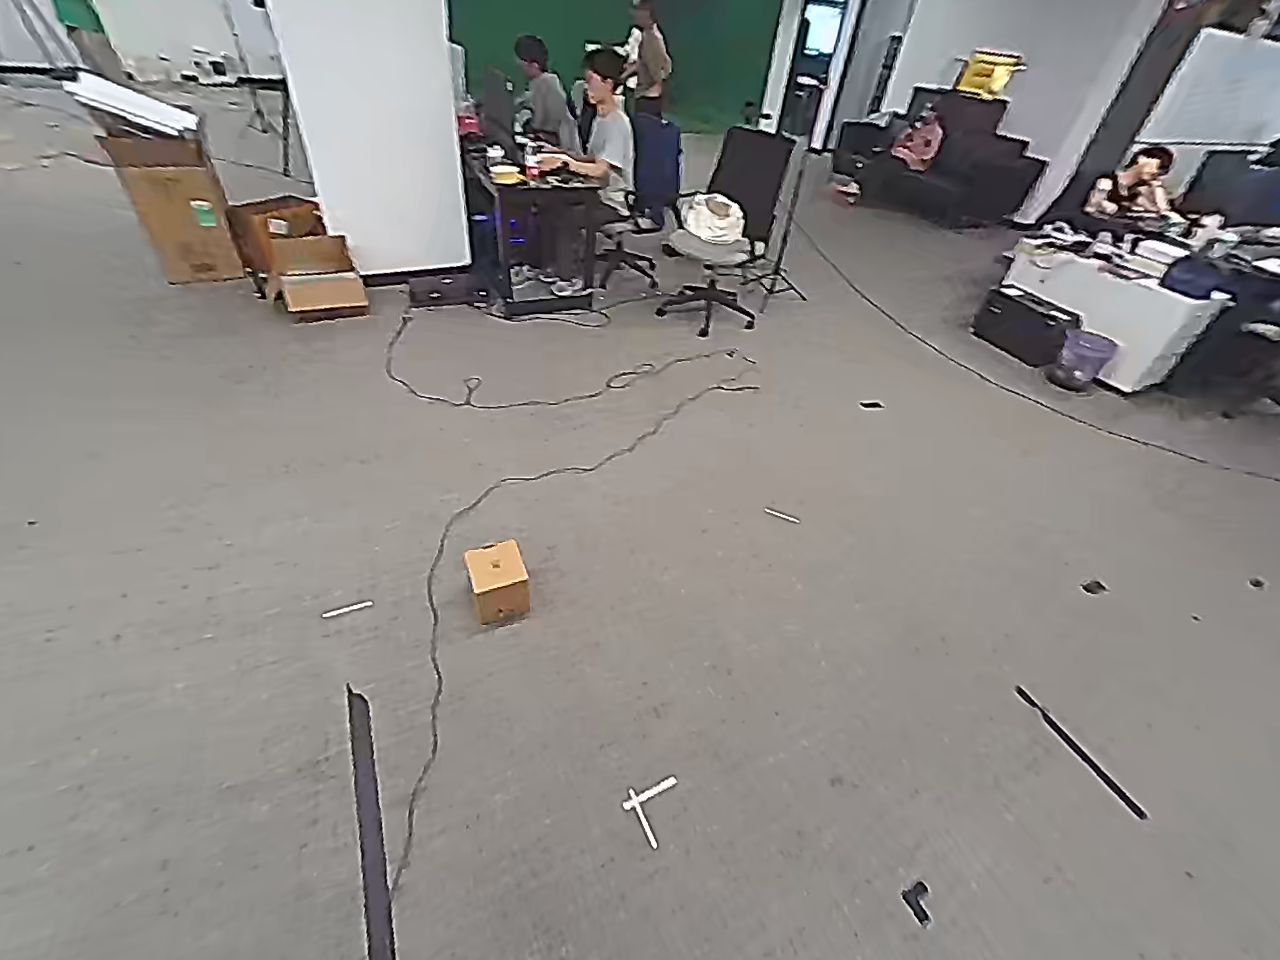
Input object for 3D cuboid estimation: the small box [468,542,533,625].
[{"bbox_3d":[-0.448,0.333,1.738,0.168,0.176,0.179,-13,45,-20],"label":"small box"}]
